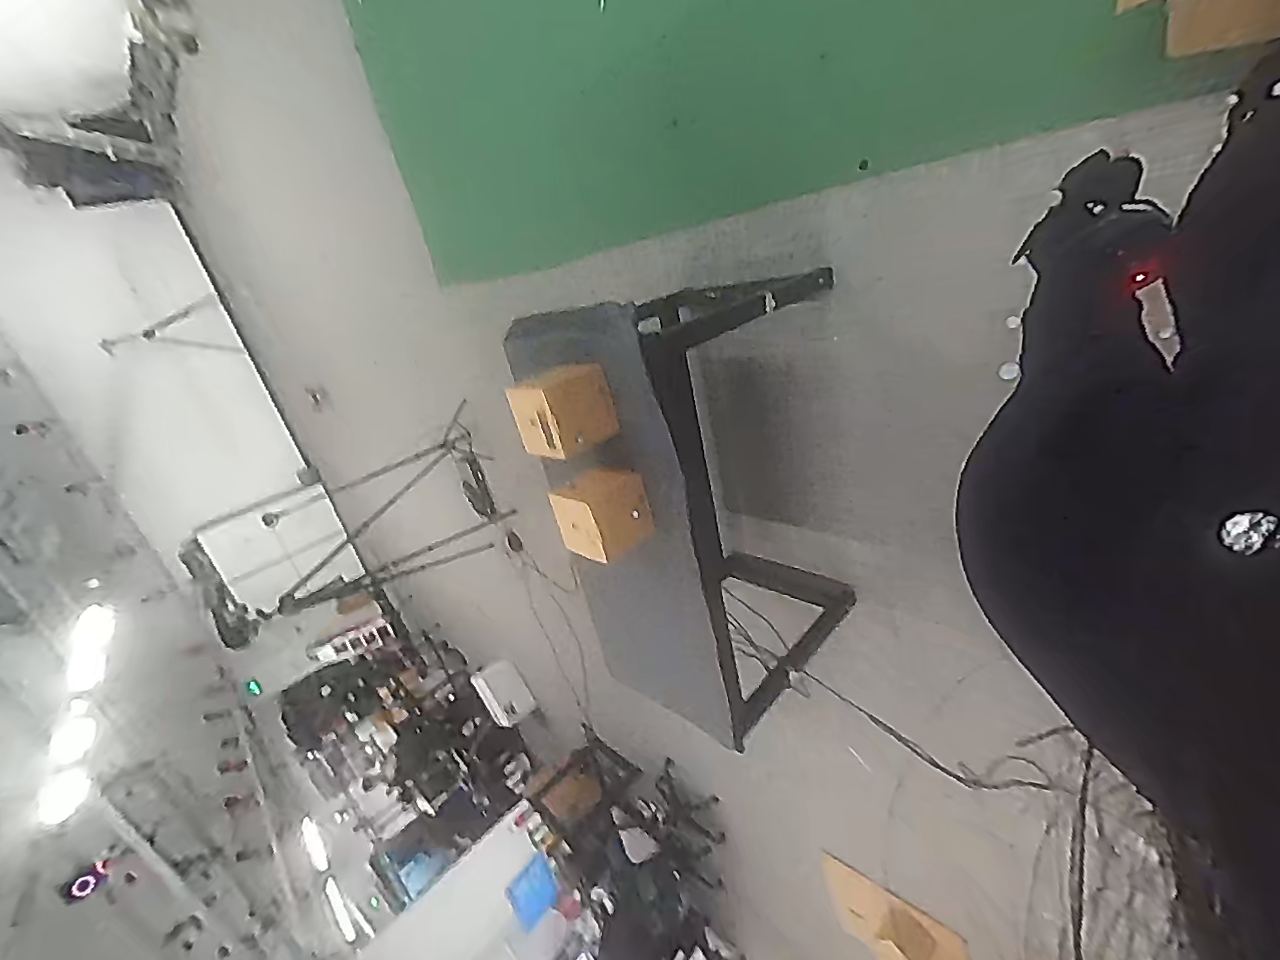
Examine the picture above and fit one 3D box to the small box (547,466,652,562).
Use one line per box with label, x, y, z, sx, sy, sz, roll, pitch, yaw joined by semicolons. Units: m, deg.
small box;-0.098;0.076;1.345;0.179;0.176;0.168;11;124;47
